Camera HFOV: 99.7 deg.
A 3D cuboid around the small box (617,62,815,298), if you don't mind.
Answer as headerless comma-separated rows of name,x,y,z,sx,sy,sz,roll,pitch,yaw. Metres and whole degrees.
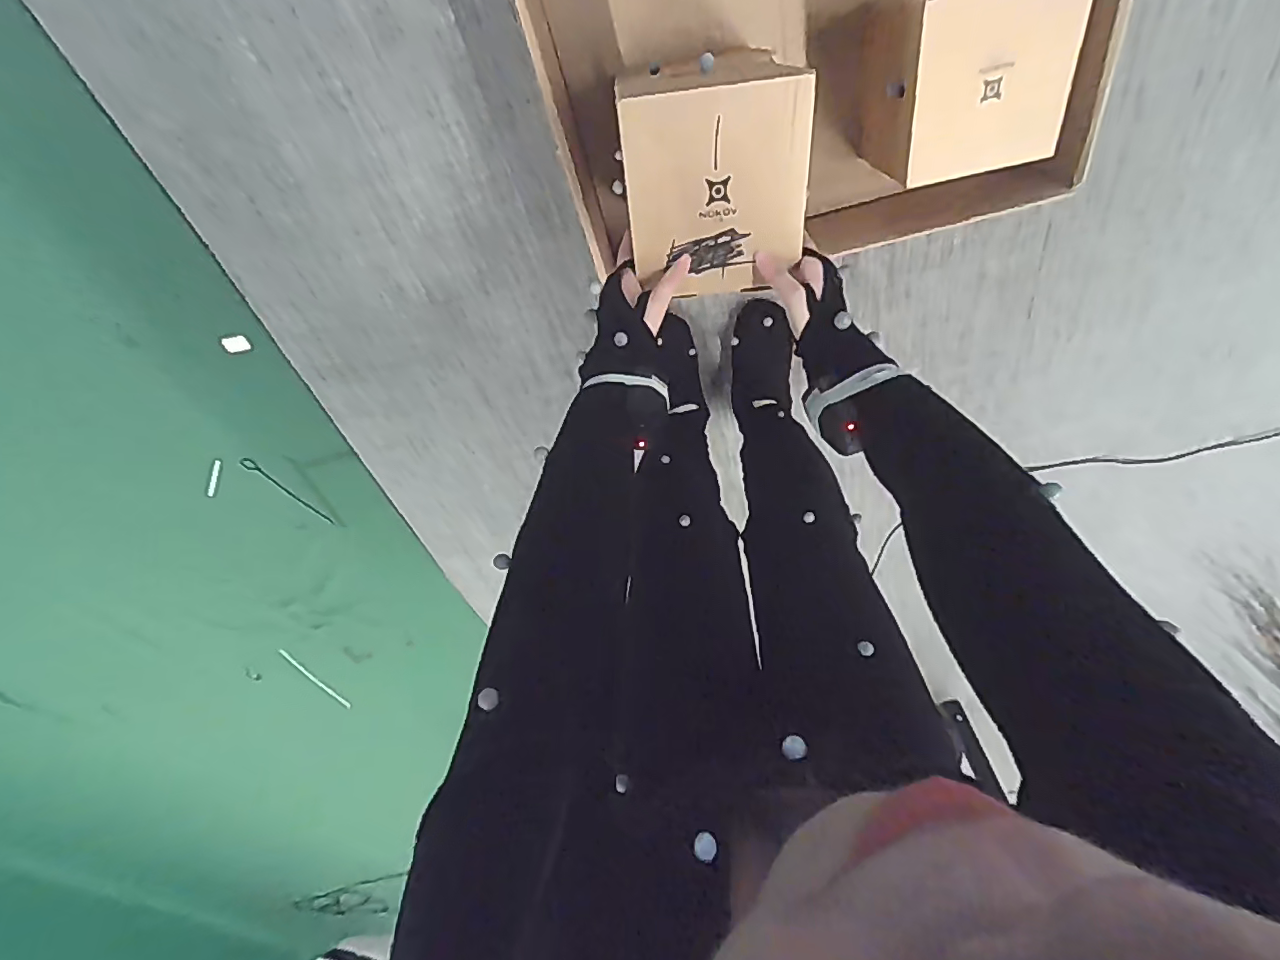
small box,0.070,-0.311,0.559,0.168,0.176,0.179,-5,129,3
